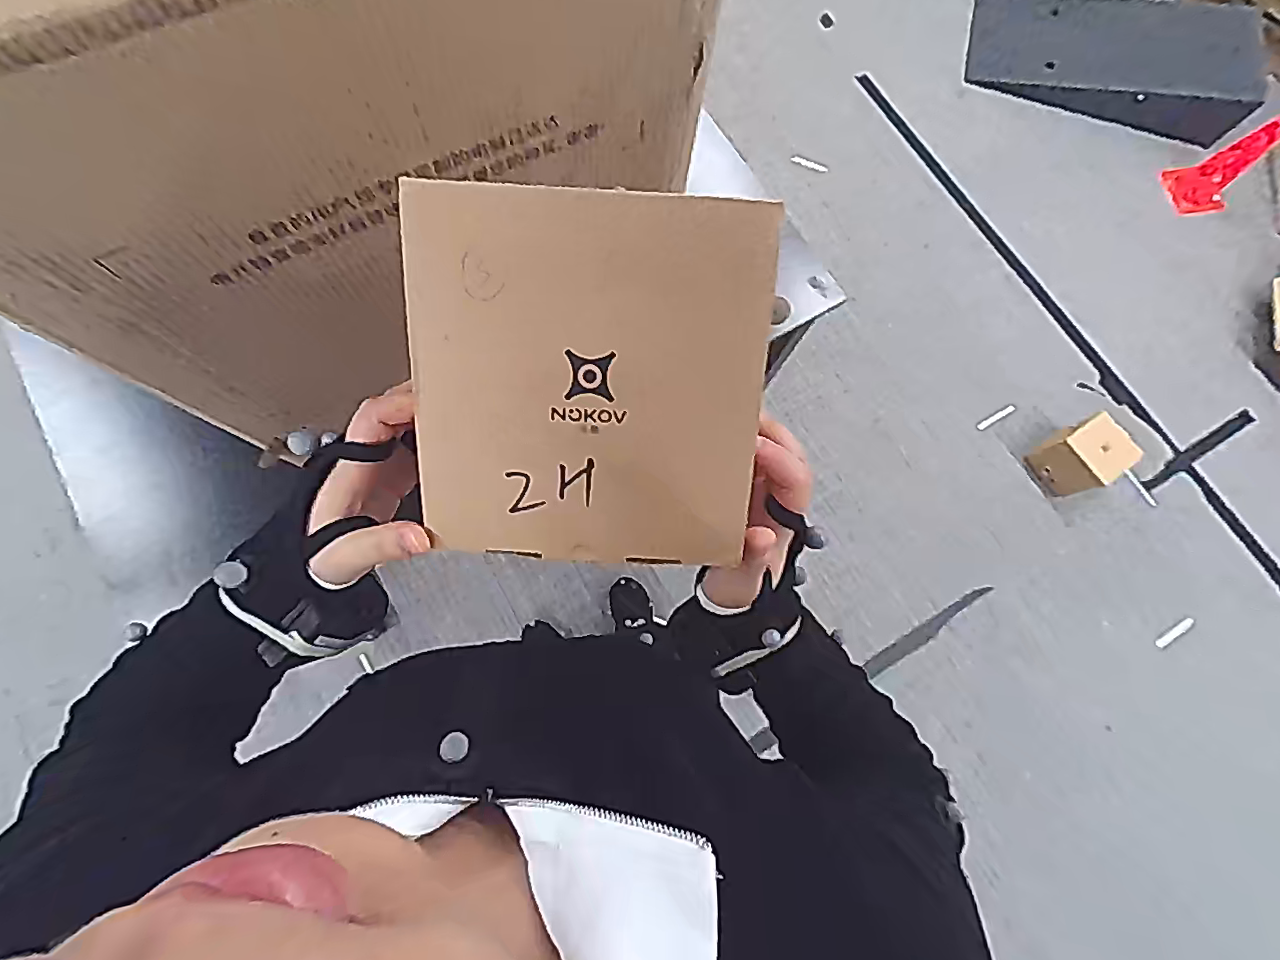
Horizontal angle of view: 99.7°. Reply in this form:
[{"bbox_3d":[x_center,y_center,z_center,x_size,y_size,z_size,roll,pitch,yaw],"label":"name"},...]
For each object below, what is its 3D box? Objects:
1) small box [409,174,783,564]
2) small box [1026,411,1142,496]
[{"bbox_3d":[-0.023,-0.066,0.333,0.168,0.176,0.179,3,107,0],"label":"small box"},{"bbox_3d":[1.328,-0.074,1.631,0.179,0.176,0.168,-33,79,-10],"label":"small box"}]
